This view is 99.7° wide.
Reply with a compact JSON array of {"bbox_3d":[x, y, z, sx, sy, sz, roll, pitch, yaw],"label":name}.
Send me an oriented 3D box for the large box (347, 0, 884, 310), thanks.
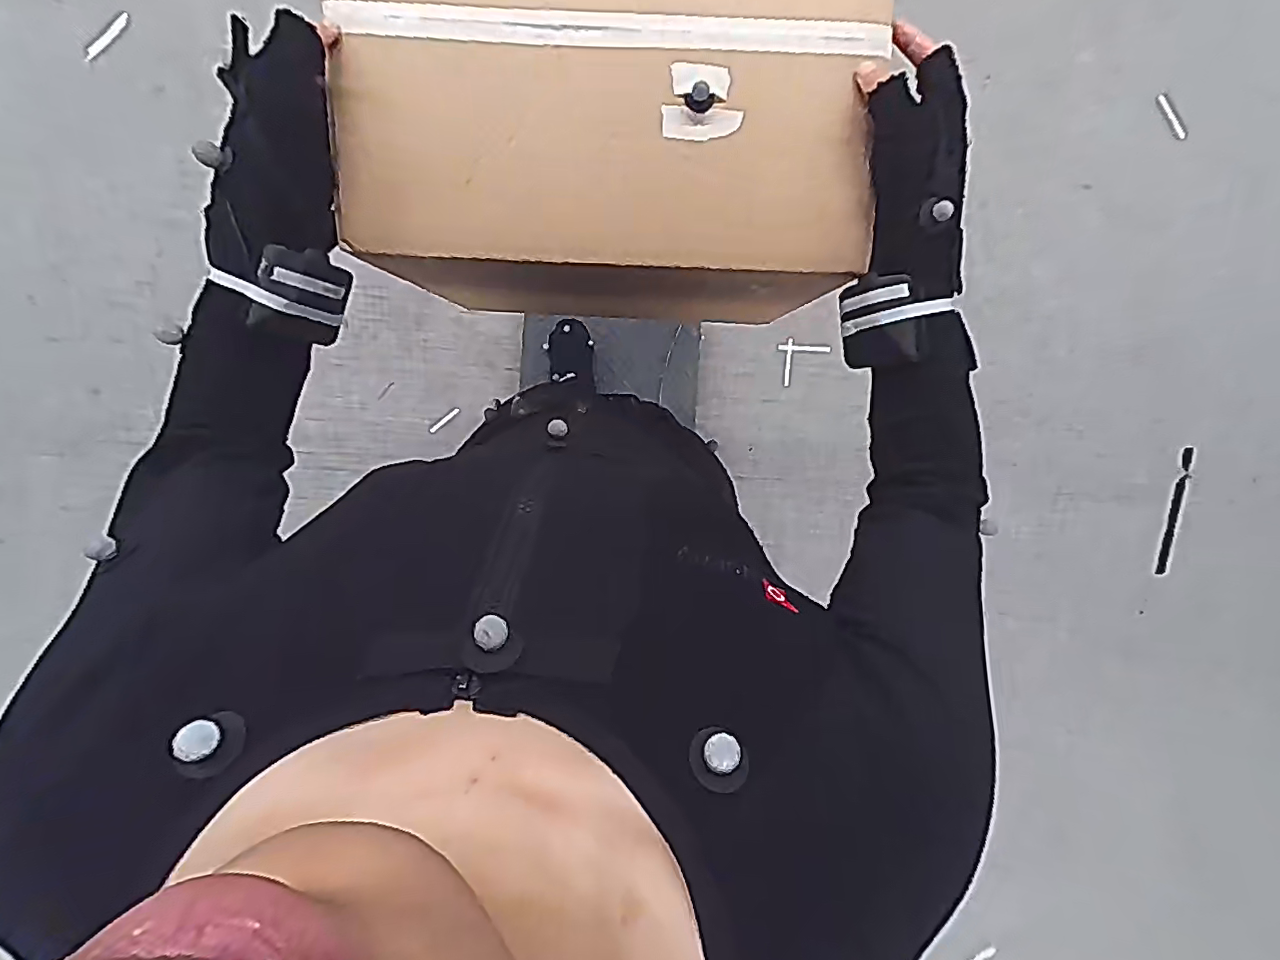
[{"bbox_3d":[-0.022,-0.356,0.549,0.408,0.320,0.320,2,100,-1],"label":"large box"}]
